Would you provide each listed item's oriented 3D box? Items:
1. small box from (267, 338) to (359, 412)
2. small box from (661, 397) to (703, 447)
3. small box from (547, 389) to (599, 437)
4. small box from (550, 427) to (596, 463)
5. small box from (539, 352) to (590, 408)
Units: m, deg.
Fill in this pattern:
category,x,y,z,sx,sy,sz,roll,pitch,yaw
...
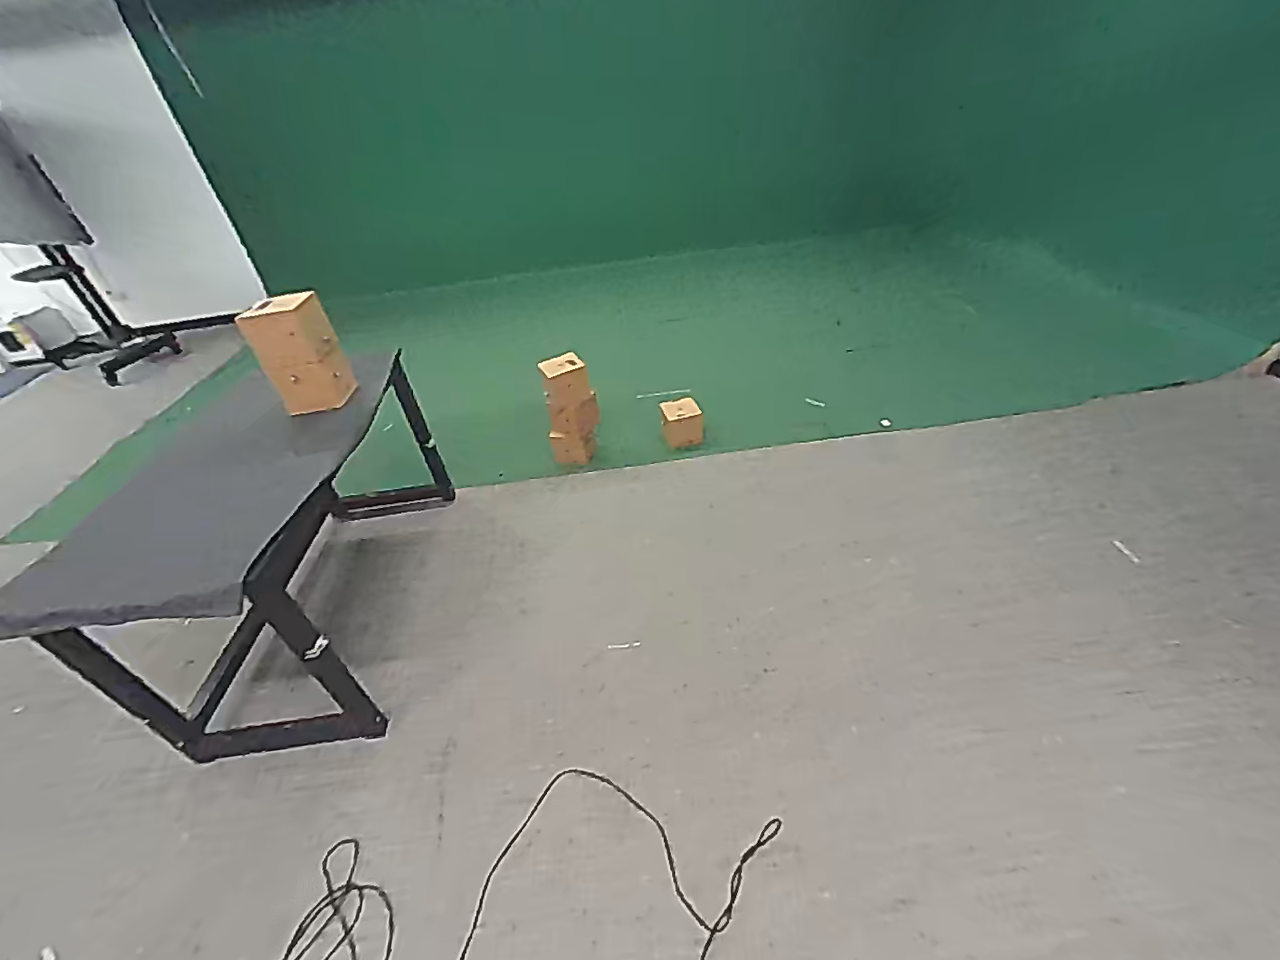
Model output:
category,x,y,z,sx,sy,sz,roll,pitch,yaw
small box,-1.065,-0.345,1.782,0.179,0.176,0.168,-9,38,1
small box,0.207,-0.284,2.665,0.168,0.176,0.179,-13,37,-7
small box,-0.307,-0.324,2.544,0.168,0.176,0.179,19,45,28
small box,-0.322,-0.197,2.649,0.168,0.176,0.179,3,39,13
small box,-0.334,-0.451,2.442,0.179,0.176,0.168,-23,42,-17
